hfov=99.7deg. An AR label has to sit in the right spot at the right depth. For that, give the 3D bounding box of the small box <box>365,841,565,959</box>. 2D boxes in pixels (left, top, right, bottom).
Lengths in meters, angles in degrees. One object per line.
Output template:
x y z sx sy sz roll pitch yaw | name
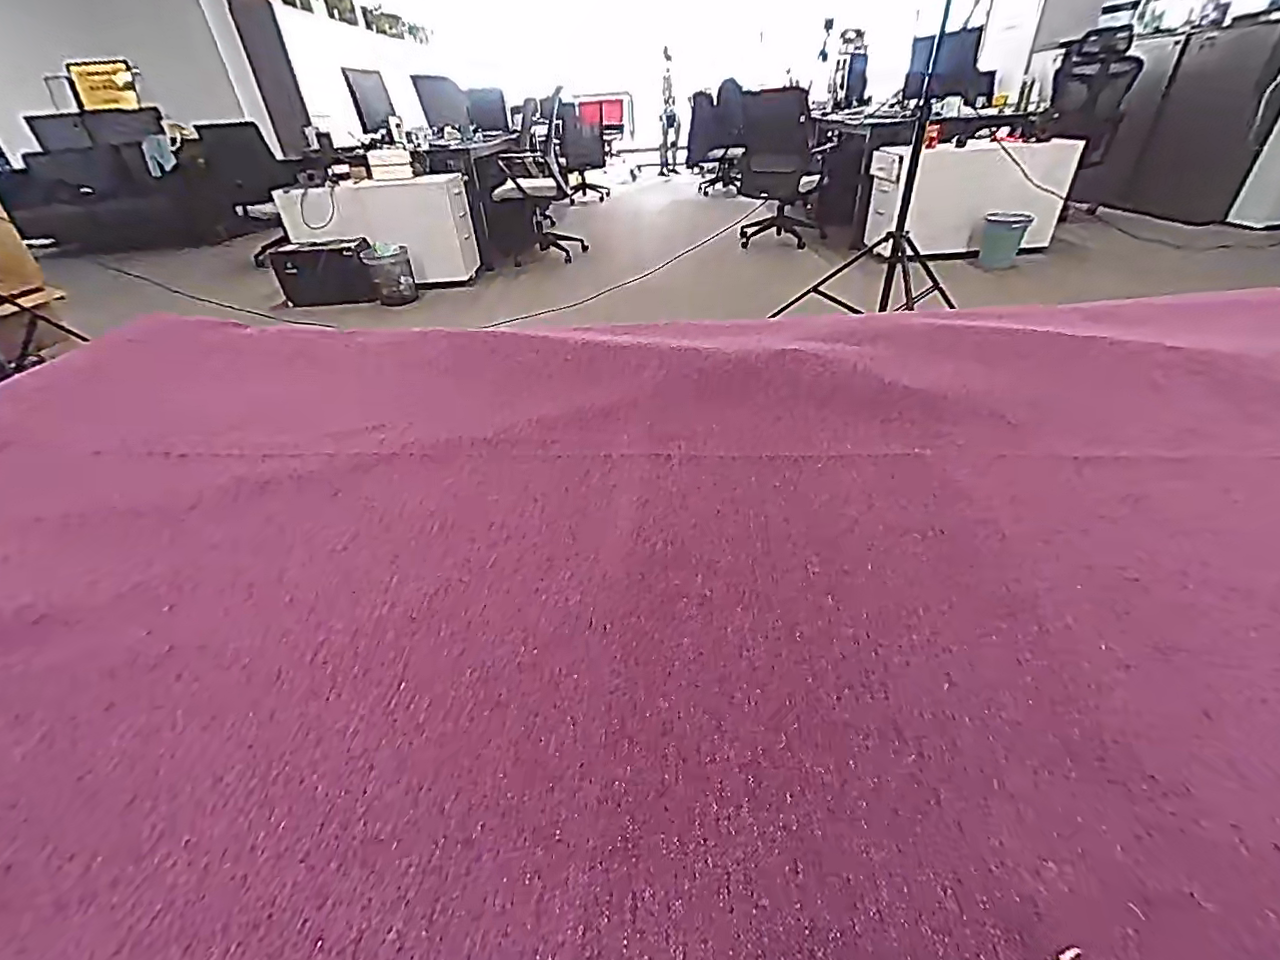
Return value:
-0.172 0.507 0.554 0.168 0.176 0.179 -5 37 -1 | small box
